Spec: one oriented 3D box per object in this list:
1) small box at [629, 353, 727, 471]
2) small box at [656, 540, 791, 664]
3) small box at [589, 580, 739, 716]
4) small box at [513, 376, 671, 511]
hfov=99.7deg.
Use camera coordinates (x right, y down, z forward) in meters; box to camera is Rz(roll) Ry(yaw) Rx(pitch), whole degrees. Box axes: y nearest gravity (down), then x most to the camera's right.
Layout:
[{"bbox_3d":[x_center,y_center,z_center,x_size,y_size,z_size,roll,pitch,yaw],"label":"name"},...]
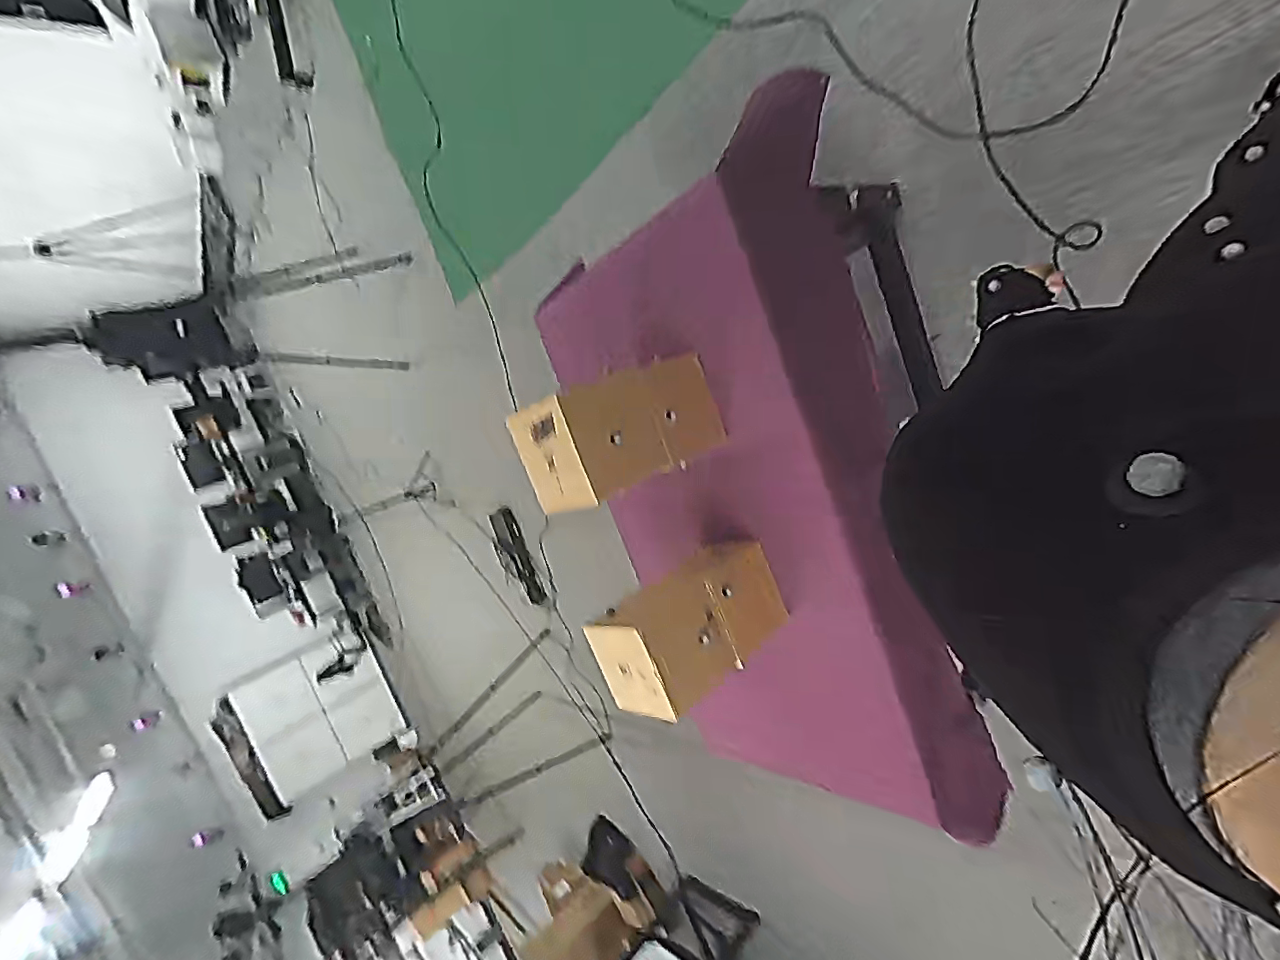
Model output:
[{"bbox_3d":[0.038,-0.119,1.015,0.168,0.176,0.179,-12,101,50],"label":"small box"},{"bbox_3d":[0.169,0.238,1.072,0.168,0.176,0.179,-19,95,52],"label":"small box"},{"bbox_3d":[0.044,0.293,0.977,0.179,0.176,0.168,-19,96,52],"label":"small box"},{"bbox_3d":[-0.077,-0.065,0.911,0.168,0.176,0.179,-12,103,50],"label":"small box"}]
